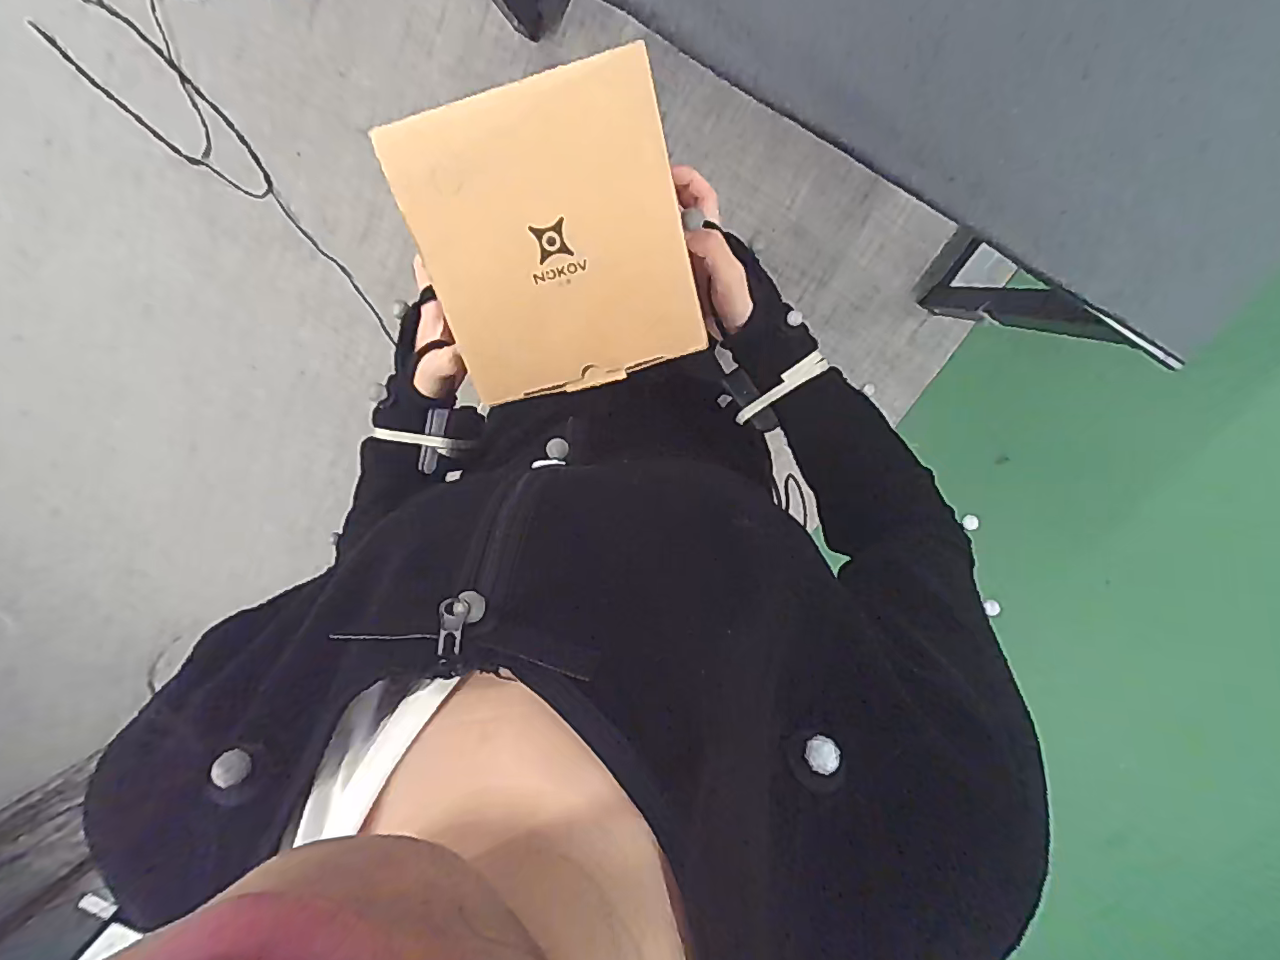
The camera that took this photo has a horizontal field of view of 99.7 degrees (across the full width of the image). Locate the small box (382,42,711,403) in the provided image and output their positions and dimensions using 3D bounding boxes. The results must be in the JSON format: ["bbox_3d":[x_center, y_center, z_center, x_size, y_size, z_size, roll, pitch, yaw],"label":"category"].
[{"bbox_3d":[-0.054,-0.183,0.409,0.168,0.176,0.179,-14,118,5],"label":"small box"}]
